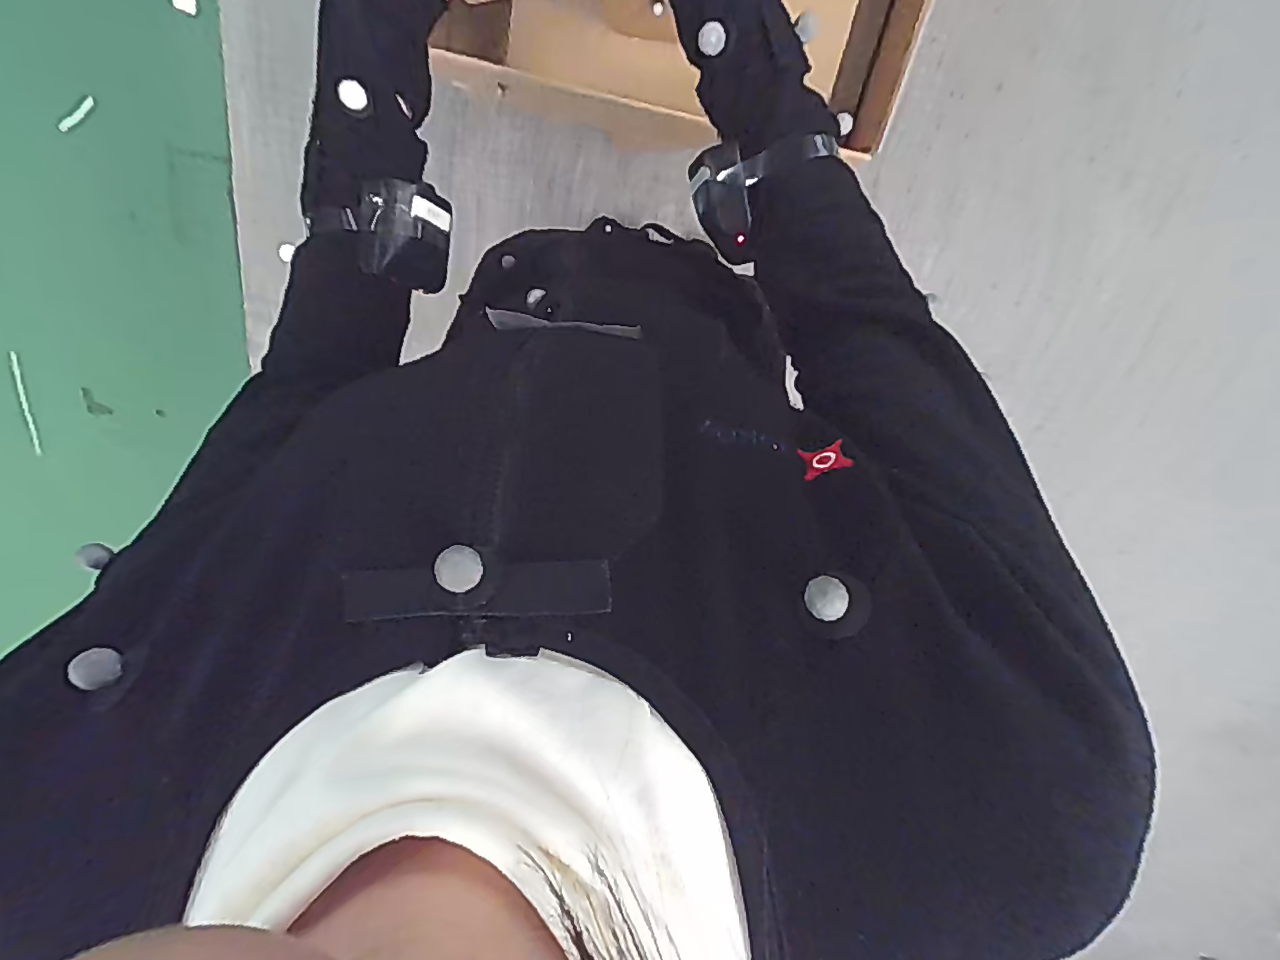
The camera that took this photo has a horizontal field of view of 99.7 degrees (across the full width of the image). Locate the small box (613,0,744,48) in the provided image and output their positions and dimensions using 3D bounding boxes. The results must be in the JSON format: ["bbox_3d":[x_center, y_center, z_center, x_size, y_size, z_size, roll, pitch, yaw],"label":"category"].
[{"bbox_3d":[0.052,-0.663,0.651,0.168,0.176,0.179,7,114,2],"label":"small box"}]
